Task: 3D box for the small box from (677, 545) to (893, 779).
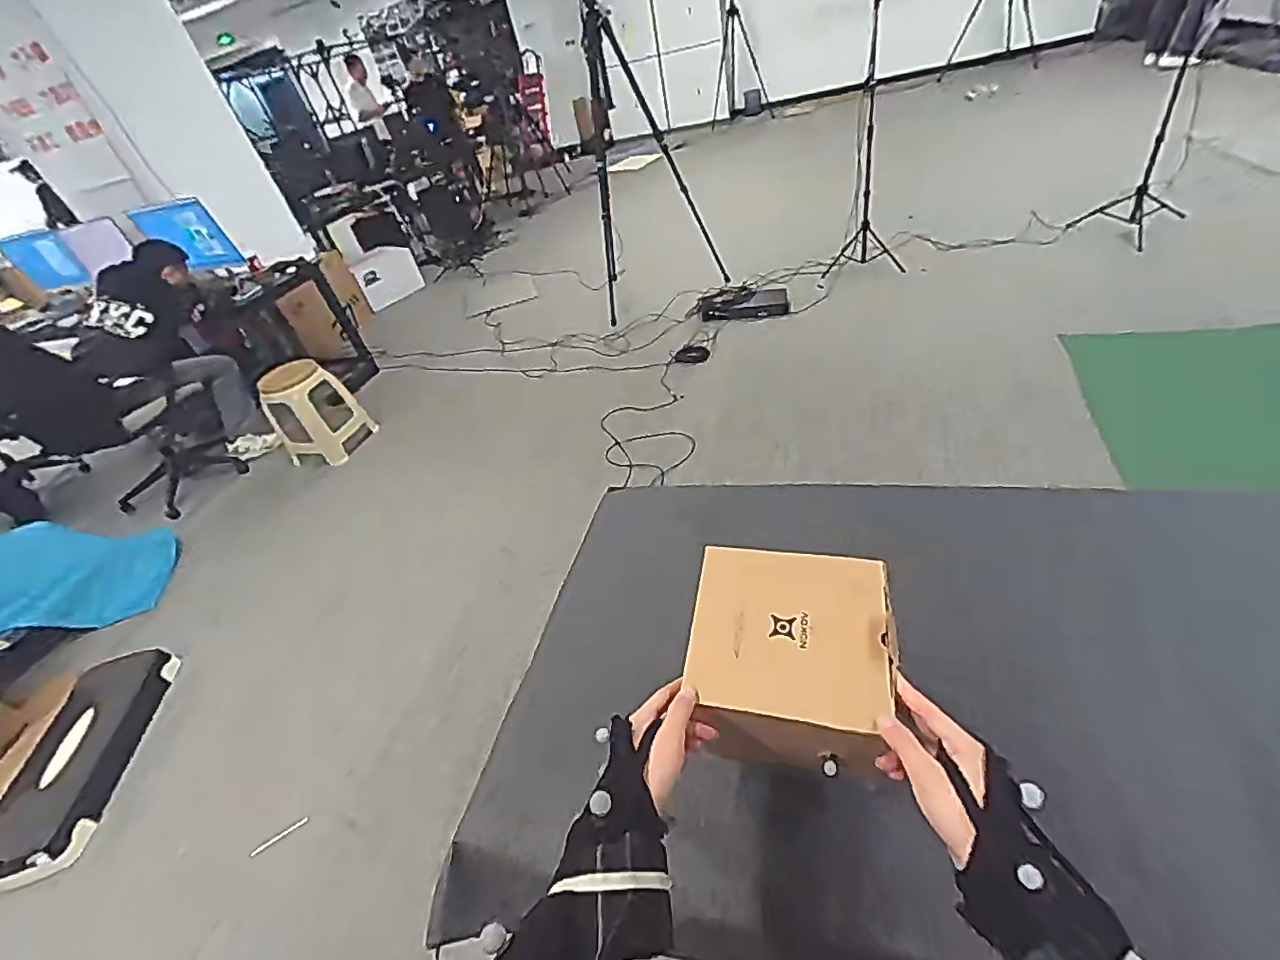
[{"bbox_3d":[0.149,0.187,0.555,0.179,0.176,0.168,1,47,18],"label":"small box"}]
